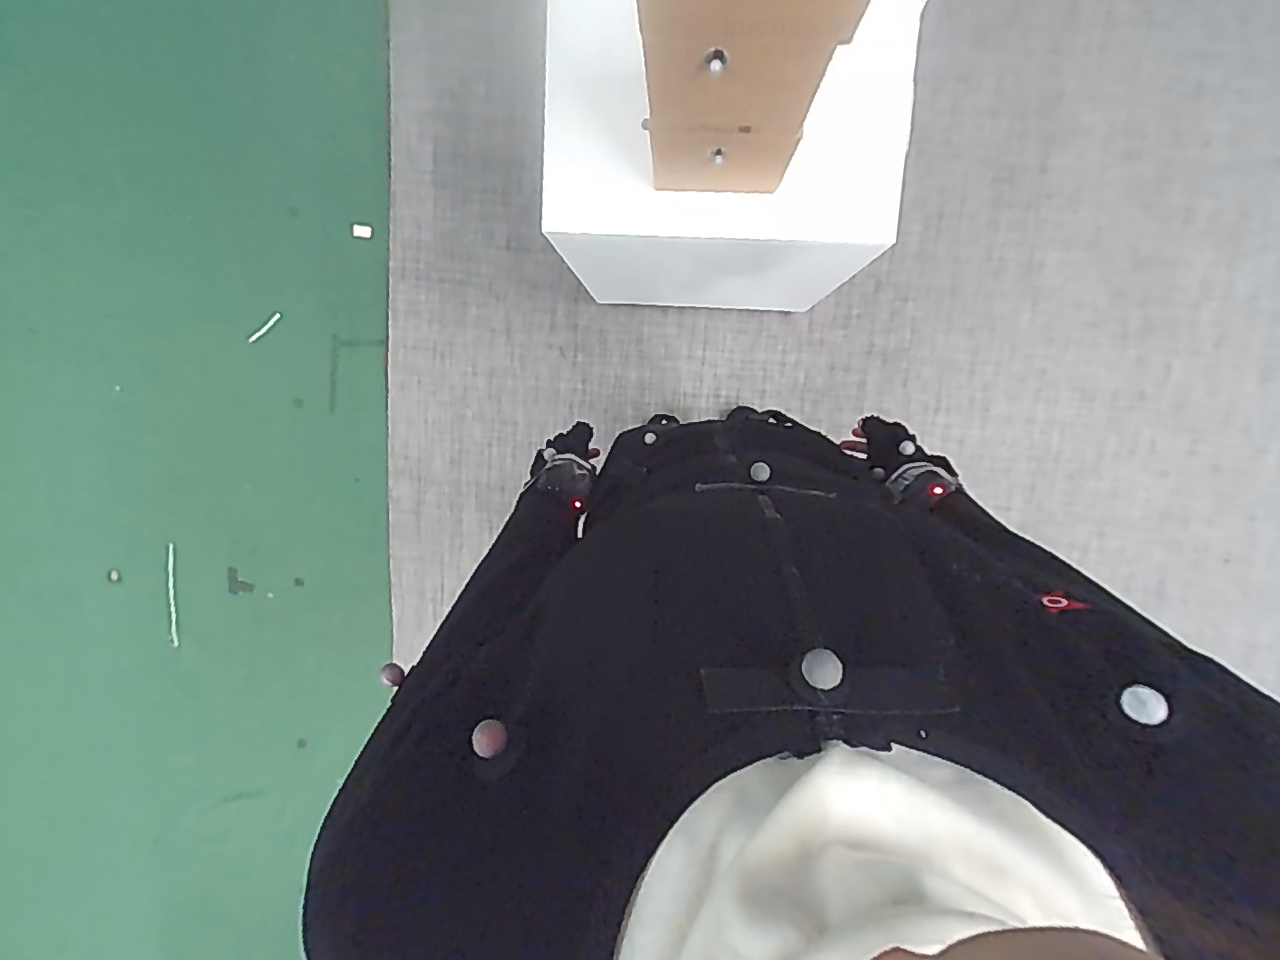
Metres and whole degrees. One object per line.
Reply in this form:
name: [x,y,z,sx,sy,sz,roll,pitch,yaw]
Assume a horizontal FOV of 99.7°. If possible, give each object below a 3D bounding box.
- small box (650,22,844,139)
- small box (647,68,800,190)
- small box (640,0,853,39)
small box: [0.096,-0.466,0.525,0.168,0.176,0.179,2,99,3]
small box: [0.105,-0.485,0.684,0.179,0.176,0.168,3,99,3]
small box: [0.086,-0.438,0.360,0.179,0.176,0.168,6,99,3]
